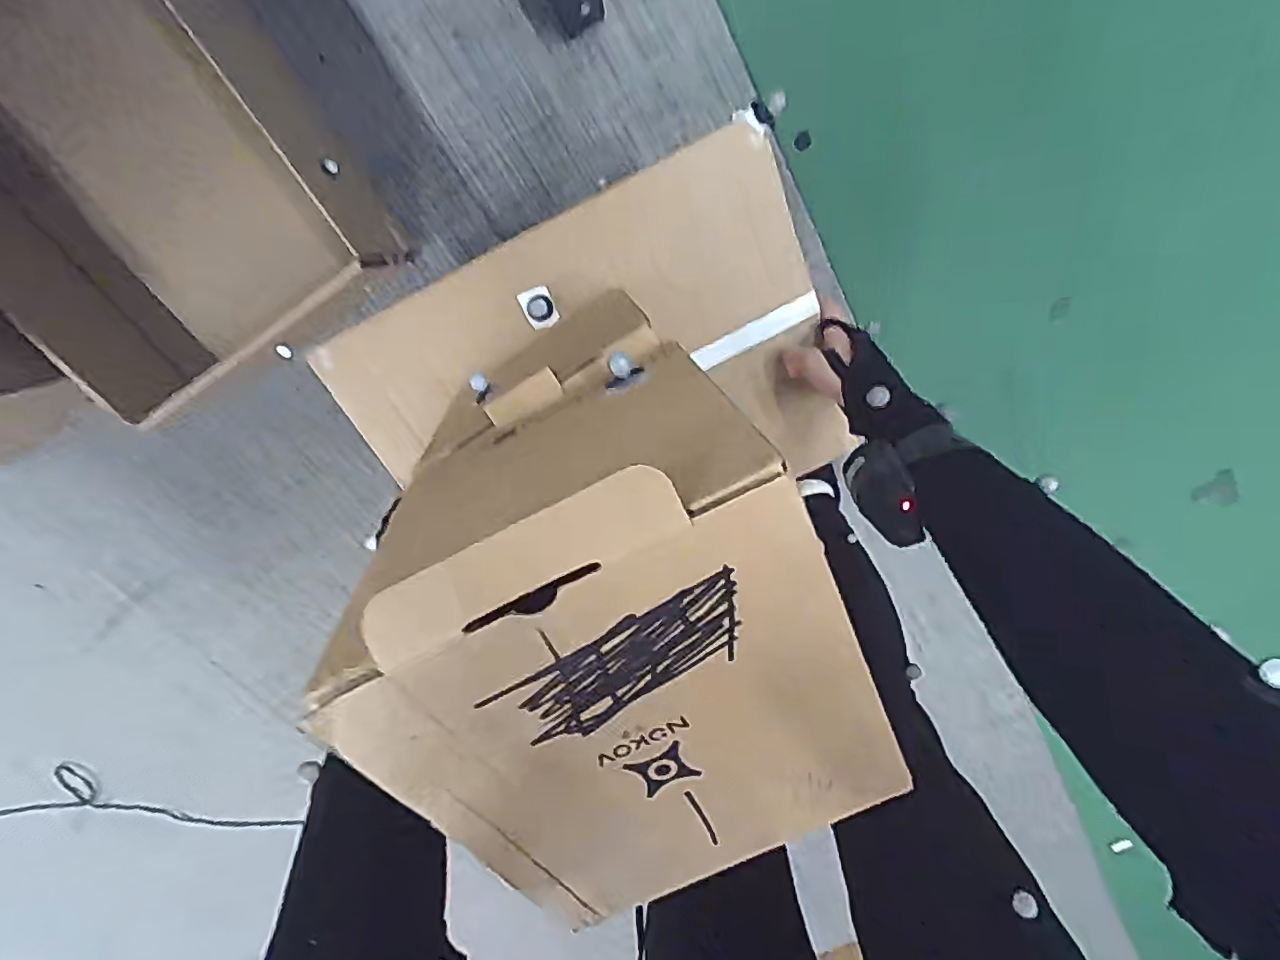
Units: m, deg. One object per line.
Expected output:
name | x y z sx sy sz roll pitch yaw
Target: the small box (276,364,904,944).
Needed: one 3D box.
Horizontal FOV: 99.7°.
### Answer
small box | -0.011 0.061 0.259 0.168 0.176 0.179 -26 118 5
